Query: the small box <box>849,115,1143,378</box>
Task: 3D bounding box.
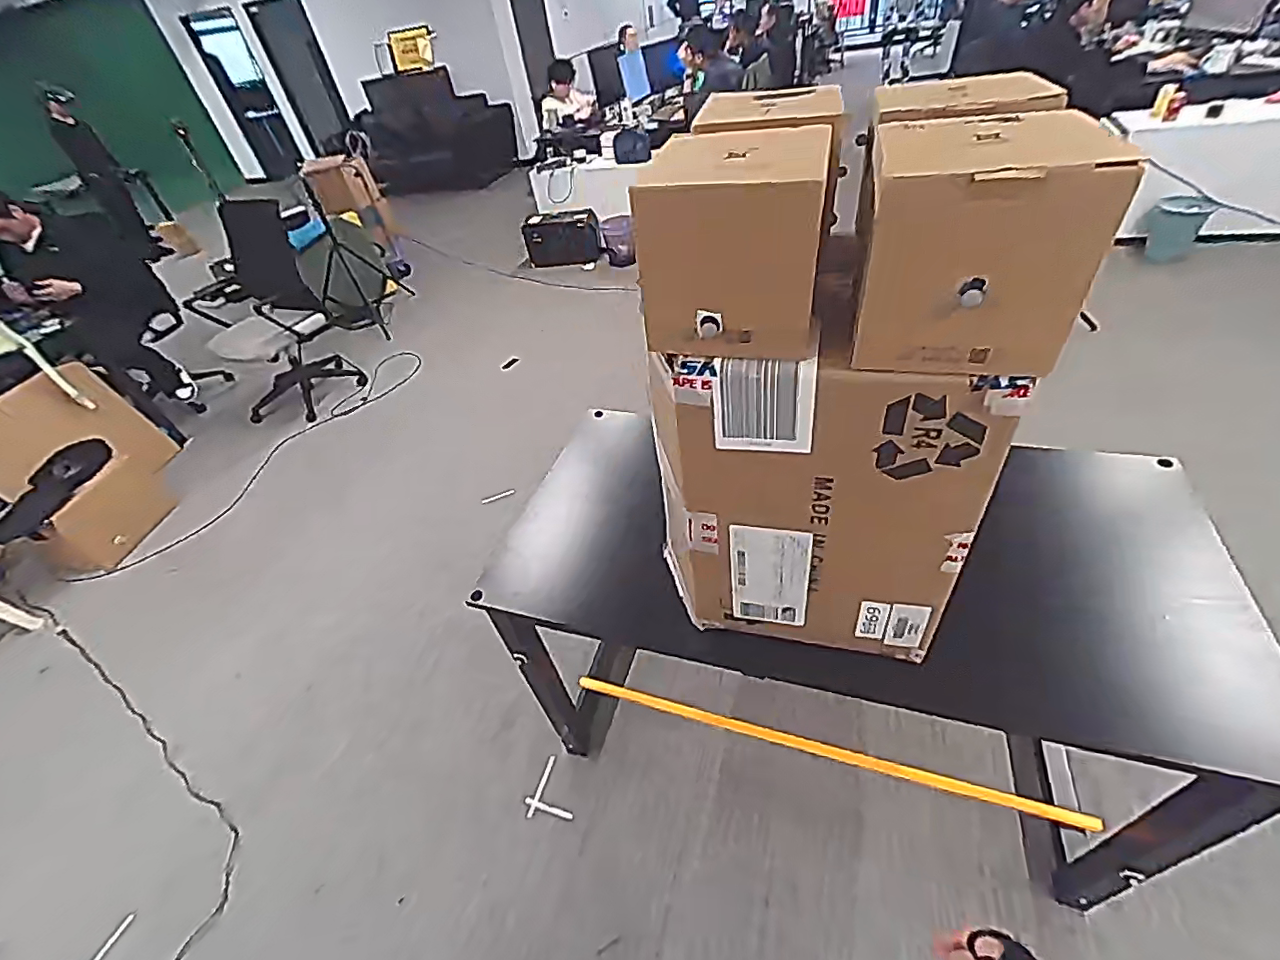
[{"bbox_3d":[0.293,-0.211,0.495,0.168,0.176,0.179,8,46,15],"label":"small box"}]
